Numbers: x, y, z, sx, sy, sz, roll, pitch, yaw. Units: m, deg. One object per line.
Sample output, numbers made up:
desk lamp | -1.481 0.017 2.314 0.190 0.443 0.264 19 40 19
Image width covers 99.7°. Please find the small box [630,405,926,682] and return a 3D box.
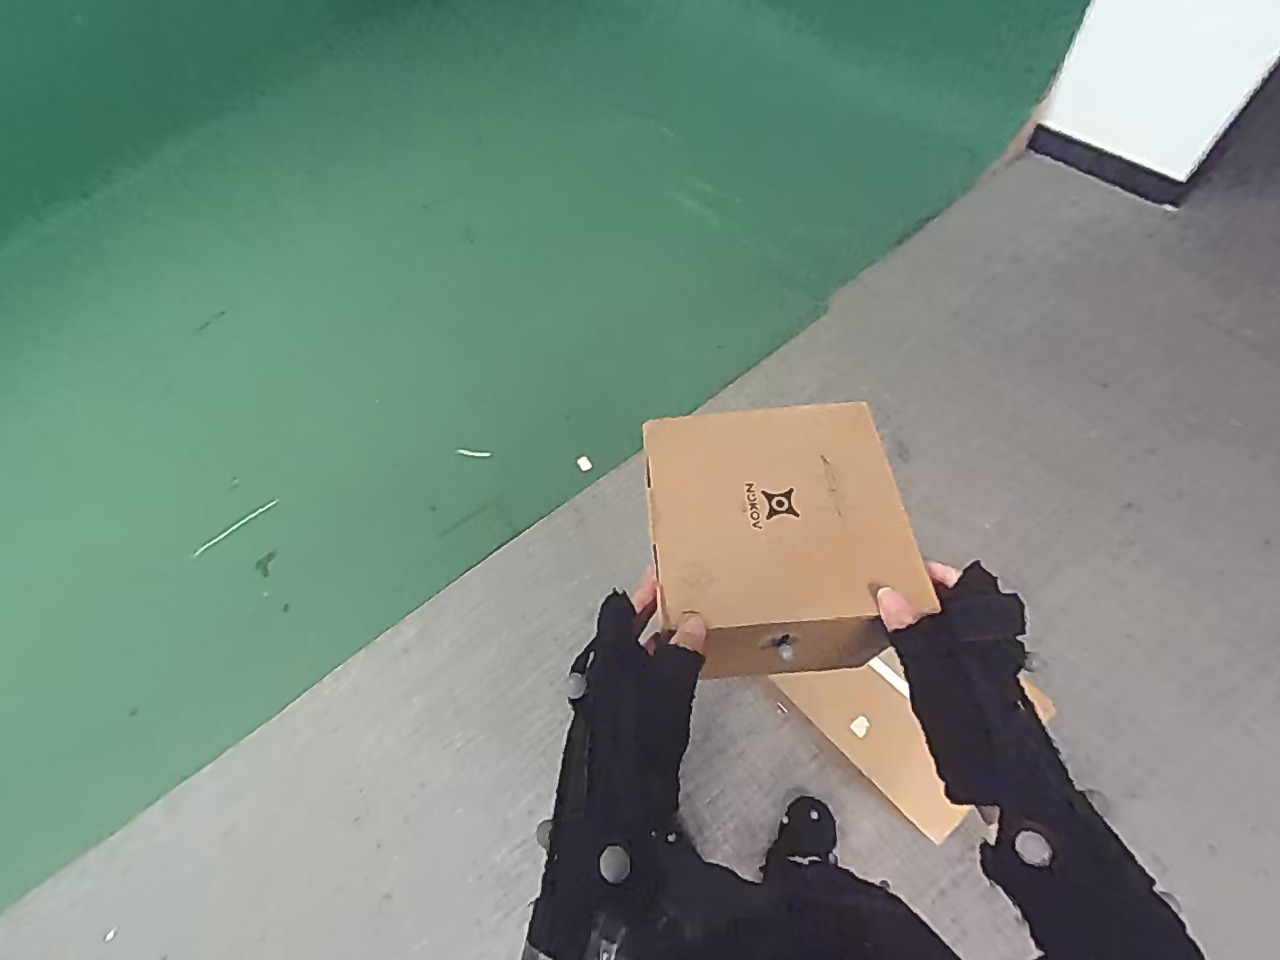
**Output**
small box | 0.089 0.061 0.440 0.179 0.176 0.168 -5 60 -1
